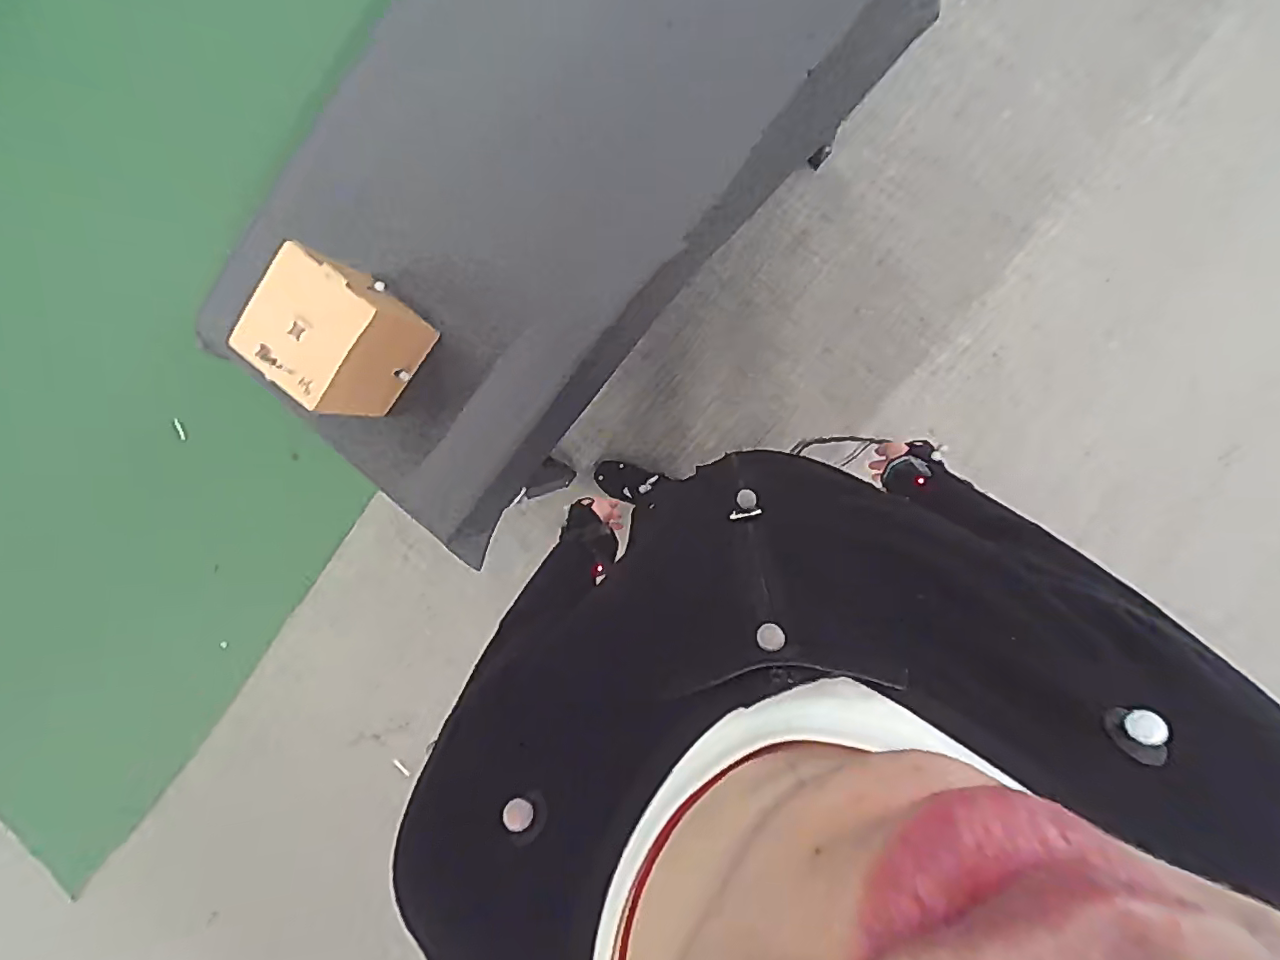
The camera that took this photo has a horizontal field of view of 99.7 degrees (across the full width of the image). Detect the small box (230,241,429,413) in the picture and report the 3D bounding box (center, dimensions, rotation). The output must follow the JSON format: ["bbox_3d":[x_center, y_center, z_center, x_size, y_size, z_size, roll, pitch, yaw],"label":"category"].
[{"bbox_3d":[-0.457,-0.220,0.830,0.168,0.176,0.179,39,98,4],"label":"small box"}]
